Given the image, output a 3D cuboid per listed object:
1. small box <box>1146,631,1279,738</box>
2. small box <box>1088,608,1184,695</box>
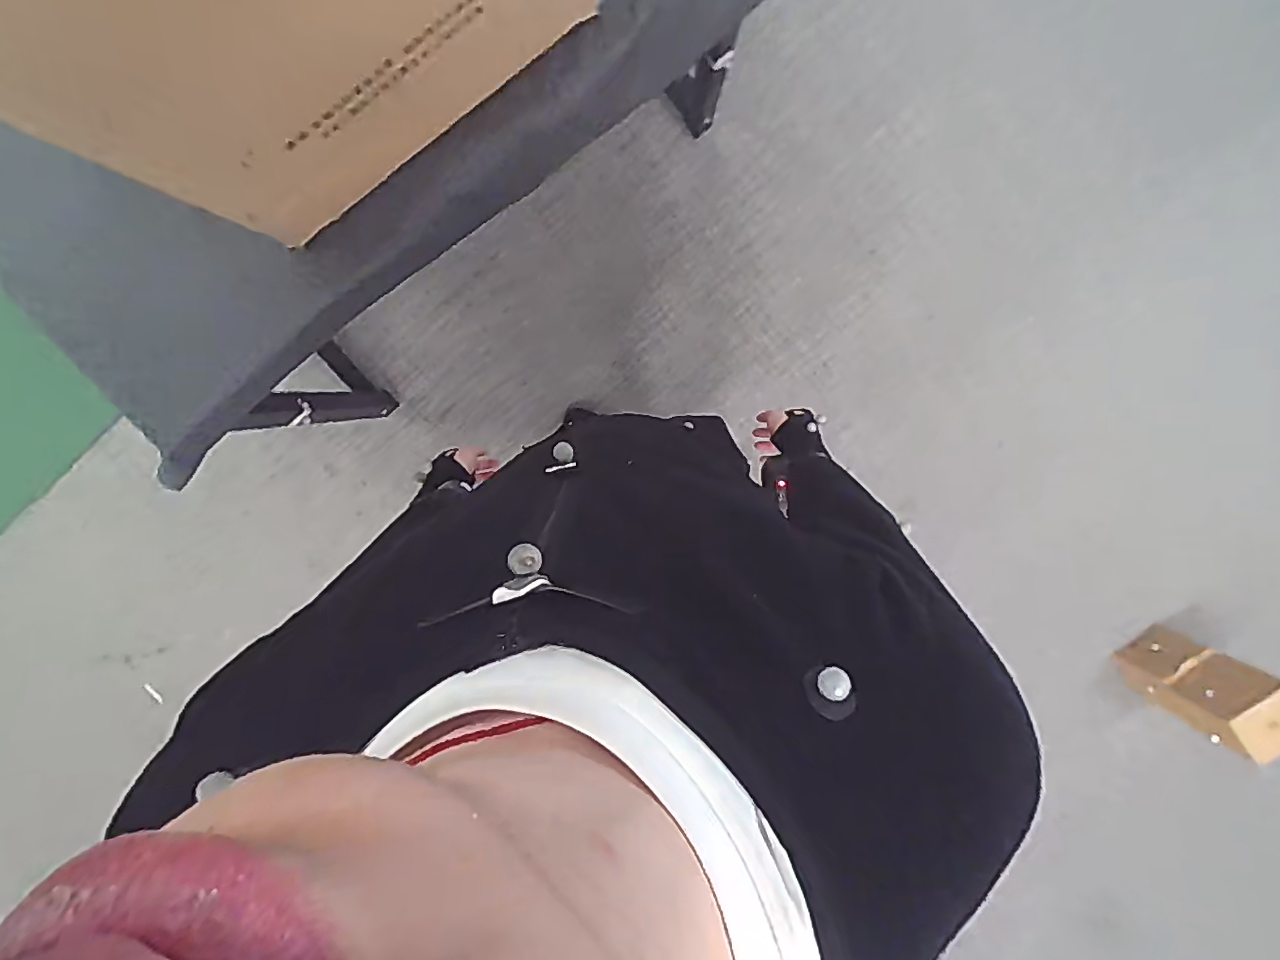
[{"bbox_3d":[1.551,0.553,1.480,0.179,0.176,0.168,-41,101,2],"label":"small box"},{"bbox_3d":[1.541,0.515,1.657,0.168,0.176,0.179,-42,100,3],"label":"small box"}]
